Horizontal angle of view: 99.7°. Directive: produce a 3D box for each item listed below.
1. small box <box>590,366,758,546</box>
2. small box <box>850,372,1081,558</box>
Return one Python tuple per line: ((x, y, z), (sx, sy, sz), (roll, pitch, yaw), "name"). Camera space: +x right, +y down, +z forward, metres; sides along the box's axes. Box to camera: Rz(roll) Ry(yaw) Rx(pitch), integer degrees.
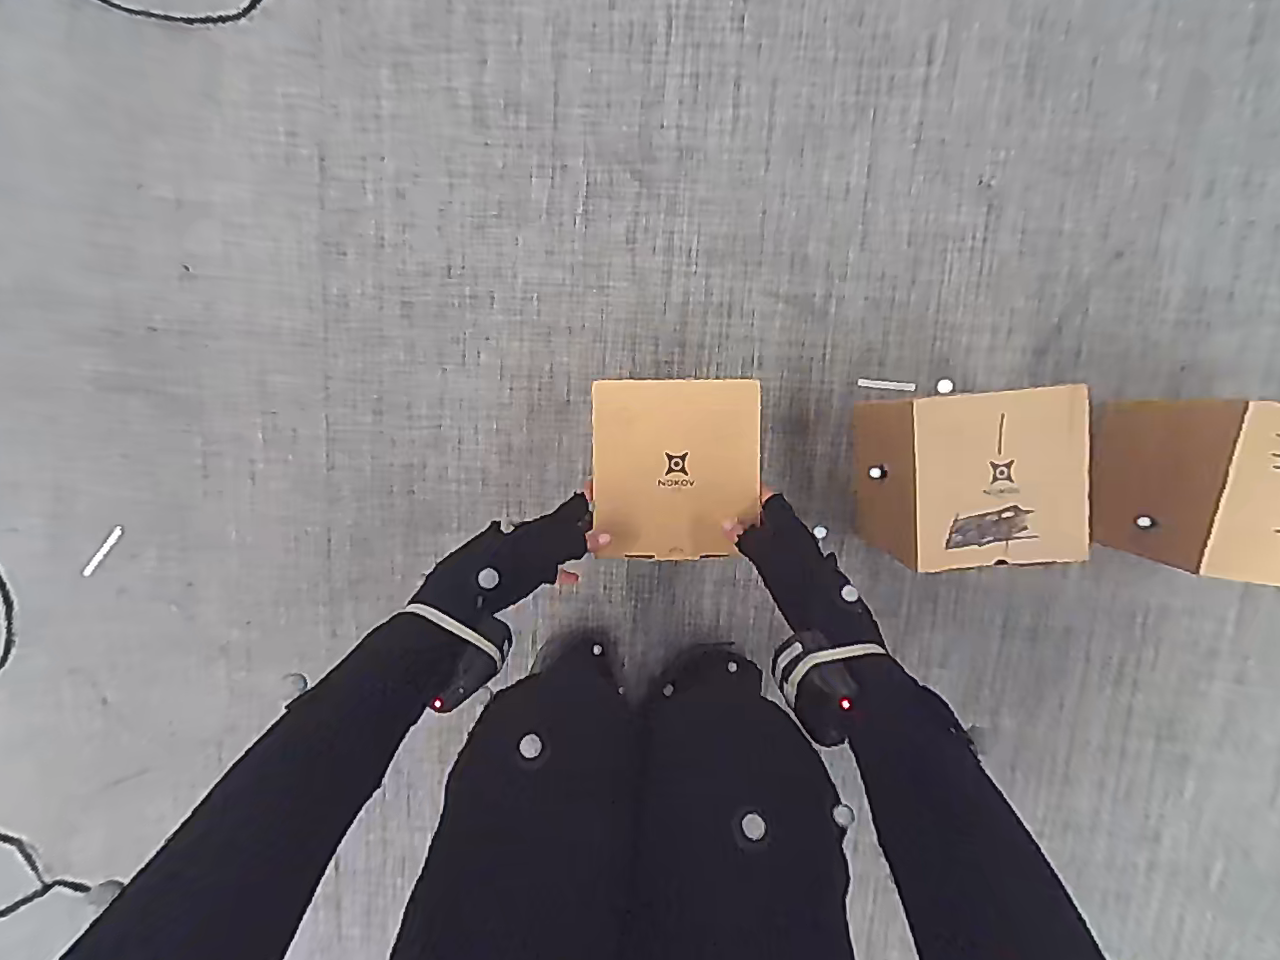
((0.032, -0.024, 0.604), (0.168, 0.176, 0.179), (-1, 91, 0), "small box")
((0.346, -0.022, 0.605), (0.168, 0.176, 0.179), (-5, 96, 3), "small box")
